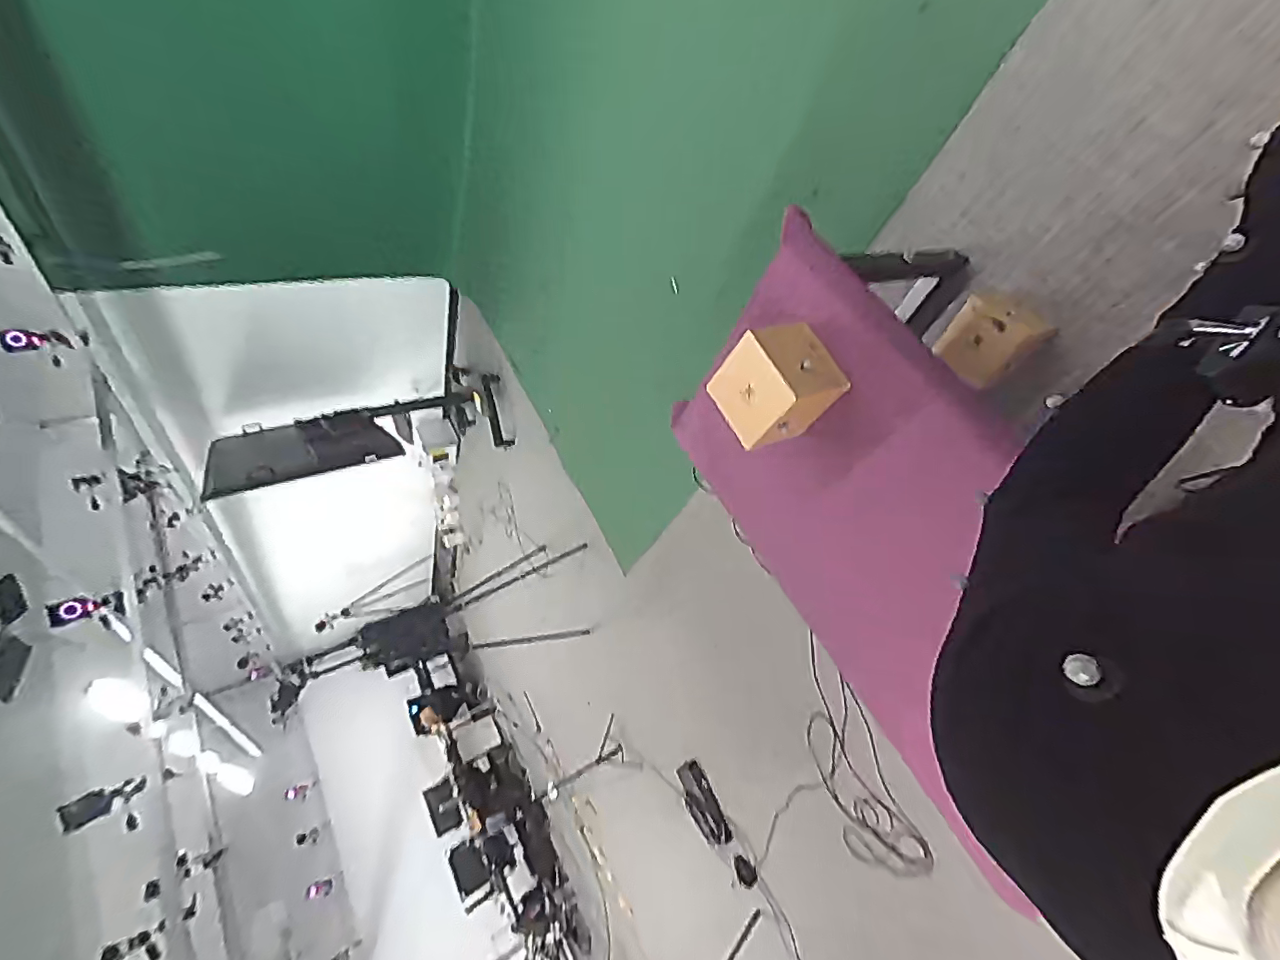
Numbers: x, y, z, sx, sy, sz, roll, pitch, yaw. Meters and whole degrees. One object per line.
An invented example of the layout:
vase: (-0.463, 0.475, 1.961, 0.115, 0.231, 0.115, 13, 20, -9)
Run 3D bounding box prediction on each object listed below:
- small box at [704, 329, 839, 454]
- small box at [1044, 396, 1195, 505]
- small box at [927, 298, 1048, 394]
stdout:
small box: (0.266, -0.180, 1.079, 0.168, 0.176, 0.179, 60, 146, 18)
small box: (1.092, -0.075, 1.236, 0.179, 0.176, 0.168, 52, 143, 28)
small box: (0.899, -0.350, 1.400, 0.168, 0.176, 0.179, 53, 143, 29)
